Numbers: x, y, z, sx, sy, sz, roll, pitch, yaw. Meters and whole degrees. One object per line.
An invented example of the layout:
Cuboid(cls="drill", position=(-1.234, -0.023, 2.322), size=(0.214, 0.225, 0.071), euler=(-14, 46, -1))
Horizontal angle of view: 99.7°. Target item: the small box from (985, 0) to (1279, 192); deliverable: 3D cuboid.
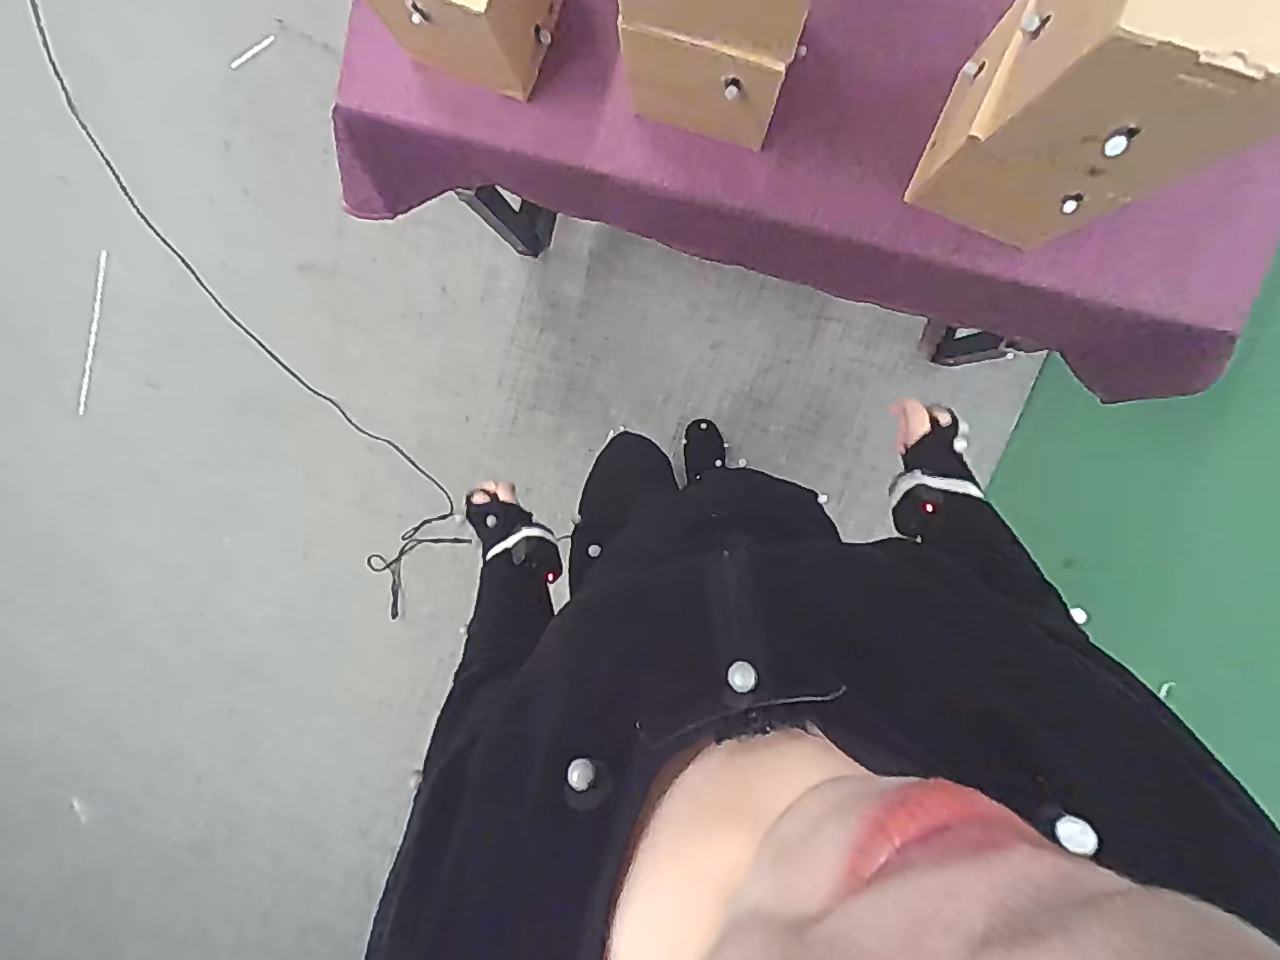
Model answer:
Cuboid(cls="small box", position=(0.420, -0.365, 0.433), size=(0.168, 0.176, 0.179), euler=(19, 99, 1))

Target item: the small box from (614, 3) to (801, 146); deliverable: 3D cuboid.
Cuboid(cls="small box", position=(0.085, -0.512, 0.605), size=(0.179, 0.176, 0.168), euler=(19, 97, 1))

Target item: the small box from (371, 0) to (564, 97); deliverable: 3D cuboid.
Cuboid(cls="small box", position=(-0.205, -0.587, 0.618), size=(0.179, 0.176, 0.168), euler=(23, 99, 0))

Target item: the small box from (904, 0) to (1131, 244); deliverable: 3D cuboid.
Cuboid(cls="small box", position=(0.429, -0.386, 0.596), size=(0.179, 0.176, 0.168), euler=(22, 98, 1))

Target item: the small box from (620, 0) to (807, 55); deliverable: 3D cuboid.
Cuboid(cls="small box", position=(0.076, -0.497, 0.440), size=(0.179, 0.176, 0.168), euler=(16, 98, 1))
